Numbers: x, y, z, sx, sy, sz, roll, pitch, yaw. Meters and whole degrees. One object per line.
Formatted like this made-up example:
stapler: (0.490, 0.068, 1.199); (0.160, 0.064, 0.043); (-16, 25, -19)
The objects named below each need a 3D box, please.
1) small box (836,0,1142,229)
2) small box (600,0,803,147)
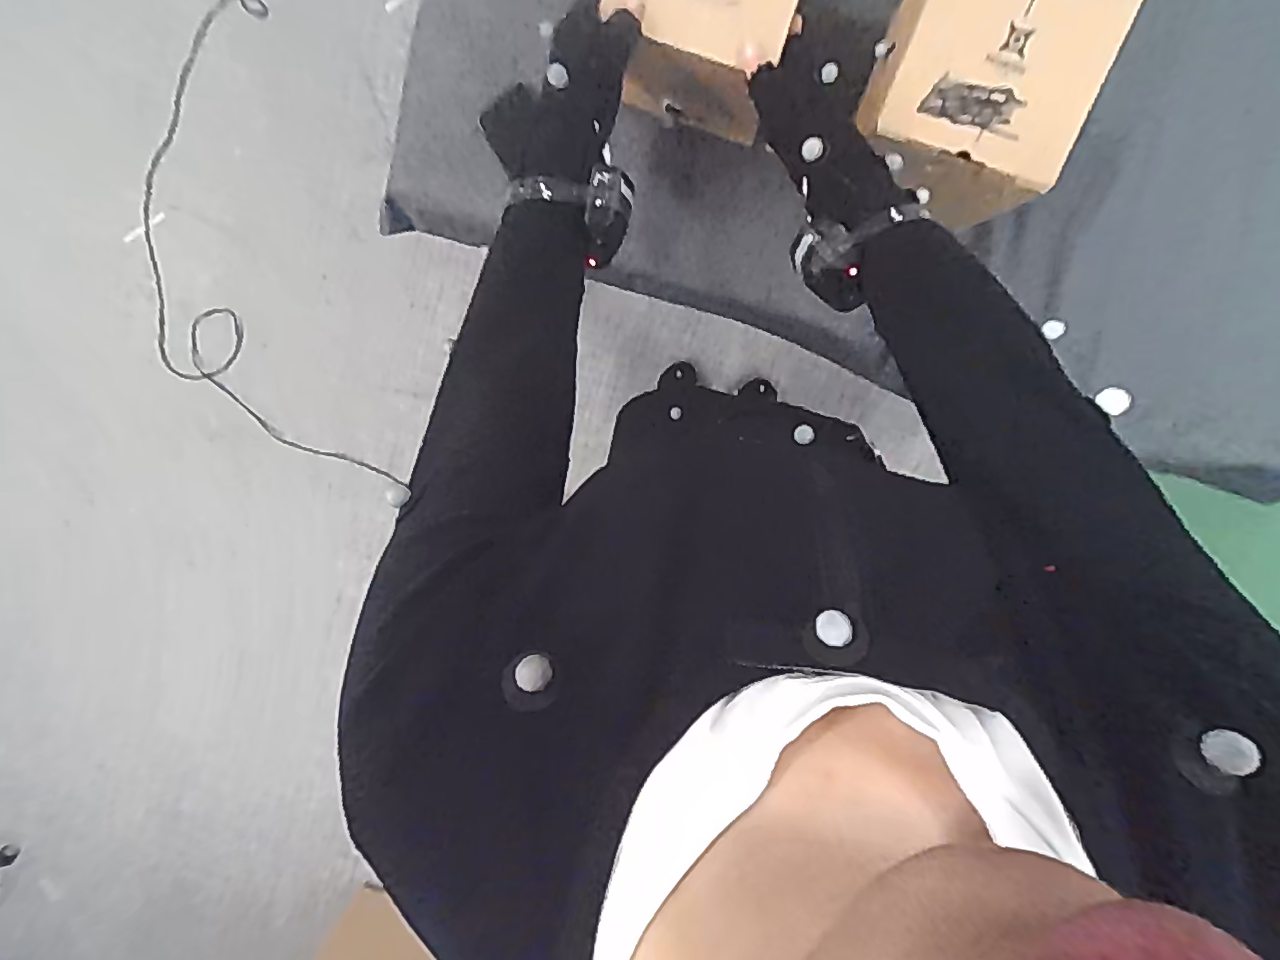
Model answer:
small box: (0.314, -0.373, 0.532); (0.168, 0.176, 0.179); (20, 103, 0)
small box: (0.072, -0.469, 0.531); (0.168, 0.176, 0.179); (18, 105, 1)
